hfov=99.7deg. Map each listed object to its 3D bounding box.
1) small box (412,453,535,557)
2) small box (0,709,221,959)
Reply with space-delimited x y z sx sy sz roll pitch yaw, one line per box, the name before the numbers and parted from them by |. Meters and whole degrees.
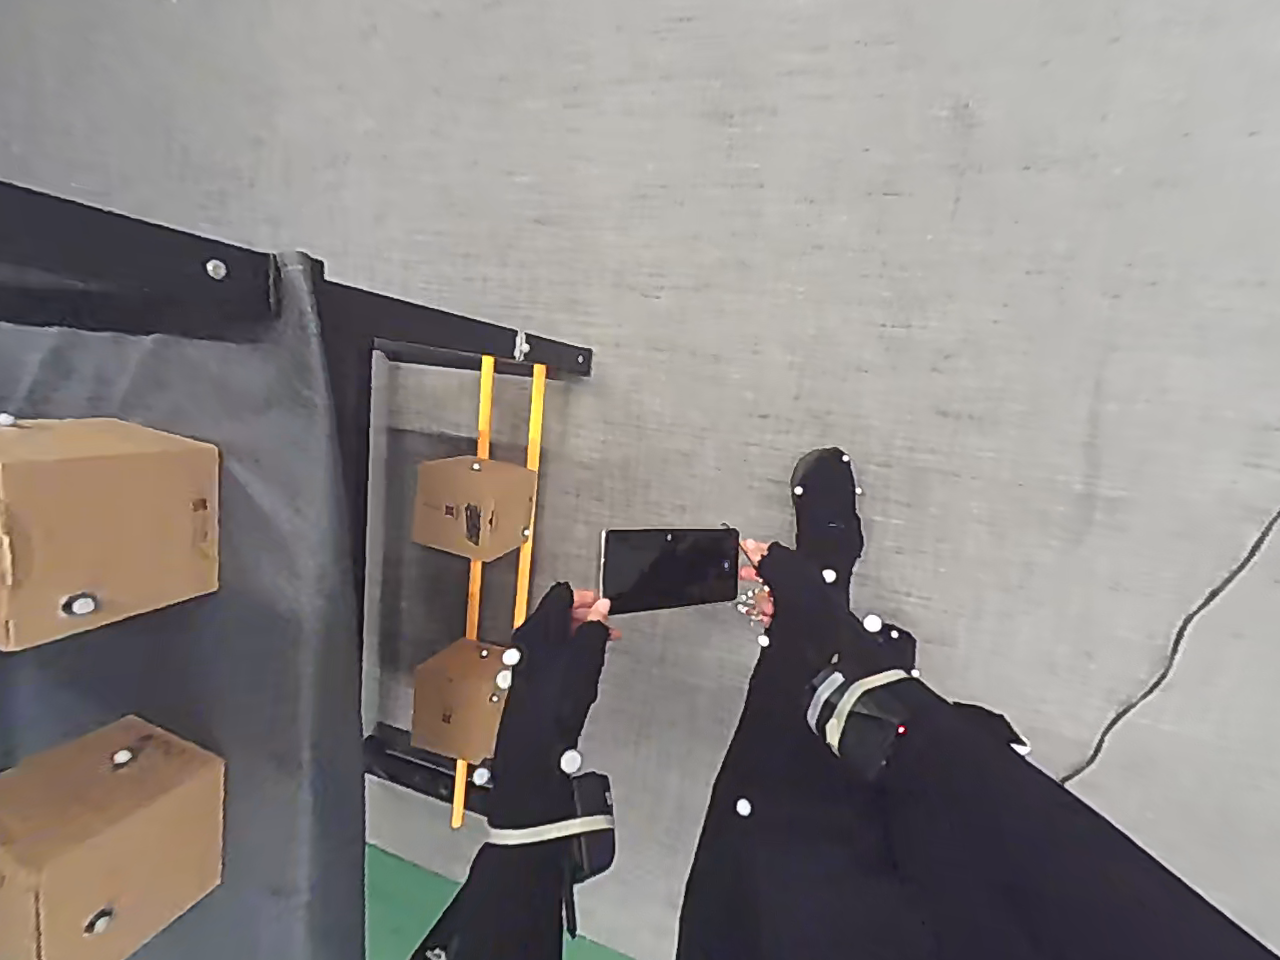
small box | -0.339 0.043 1.123 0.179 0.176 0.168 13 101 15
small box | -0.603 0.393 0.594 0.168 0.176 0.179 13 100 15
